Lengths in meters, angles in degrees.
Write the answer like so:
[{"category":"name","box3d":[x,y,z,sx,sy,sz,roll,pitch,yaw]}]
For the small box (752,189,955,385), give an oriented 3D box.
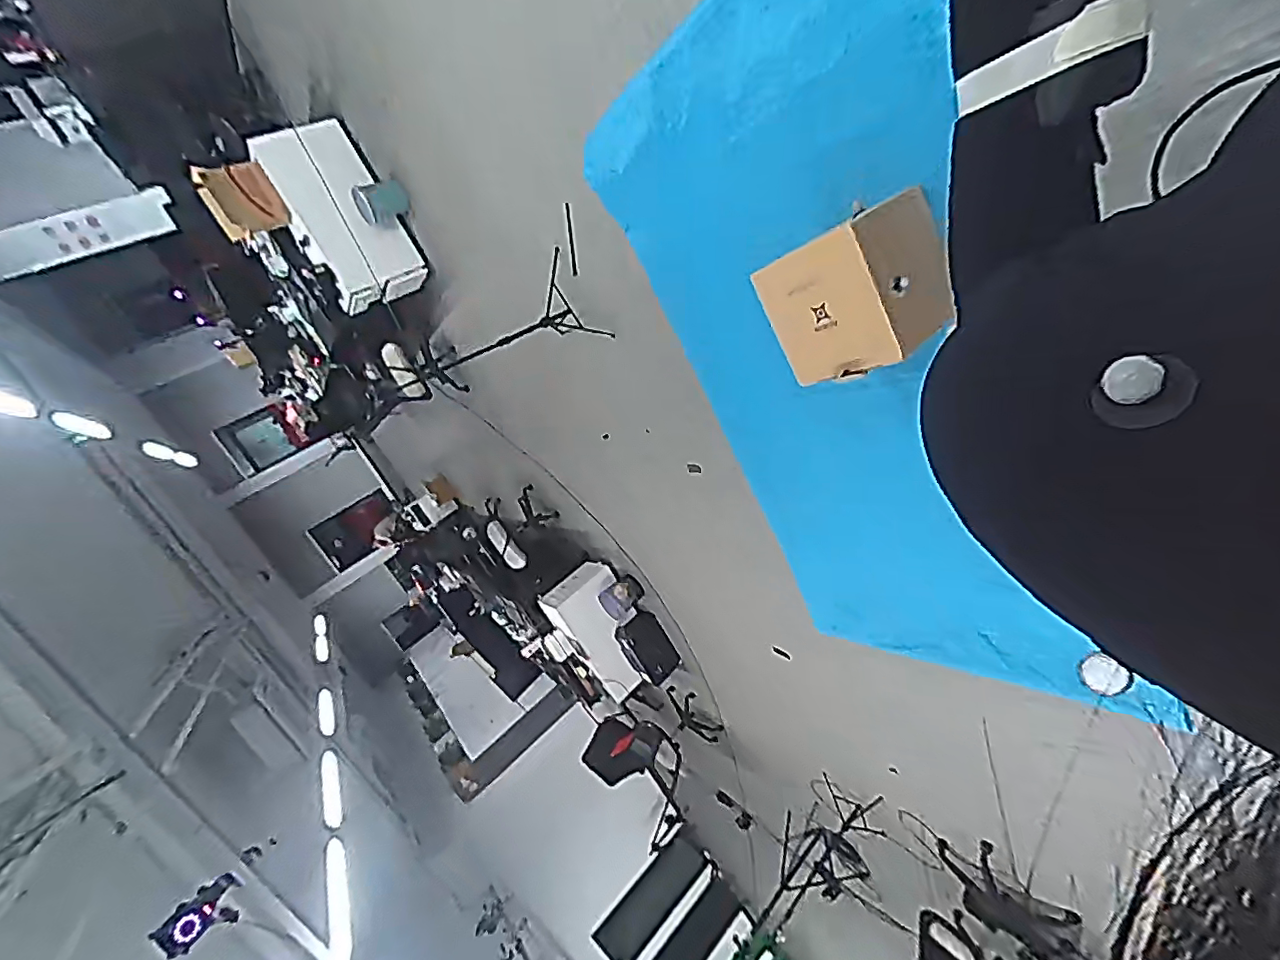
[{"category":"small box","box3d":[0.294,-0.256,0.739,0.168,0.176,0.179,-4,119,59]}]
